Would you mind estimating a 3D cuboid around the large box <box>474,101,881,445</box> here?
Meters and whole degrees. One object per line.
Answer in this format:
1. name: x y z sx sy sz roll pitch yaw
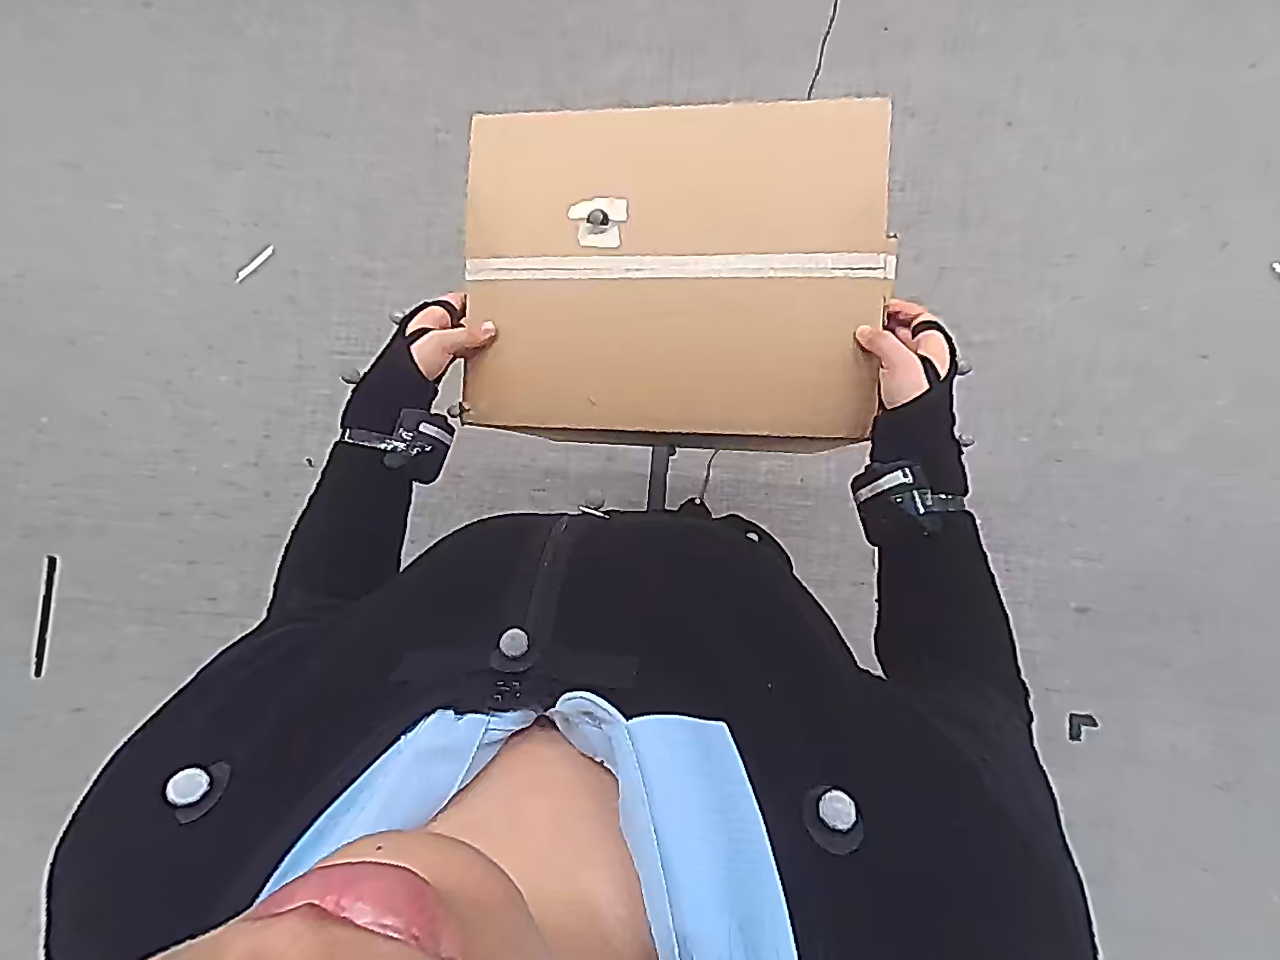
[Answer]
1. large box: 0.051 -0.205 0.680 0.408 0.320 0.320 2 90 9
